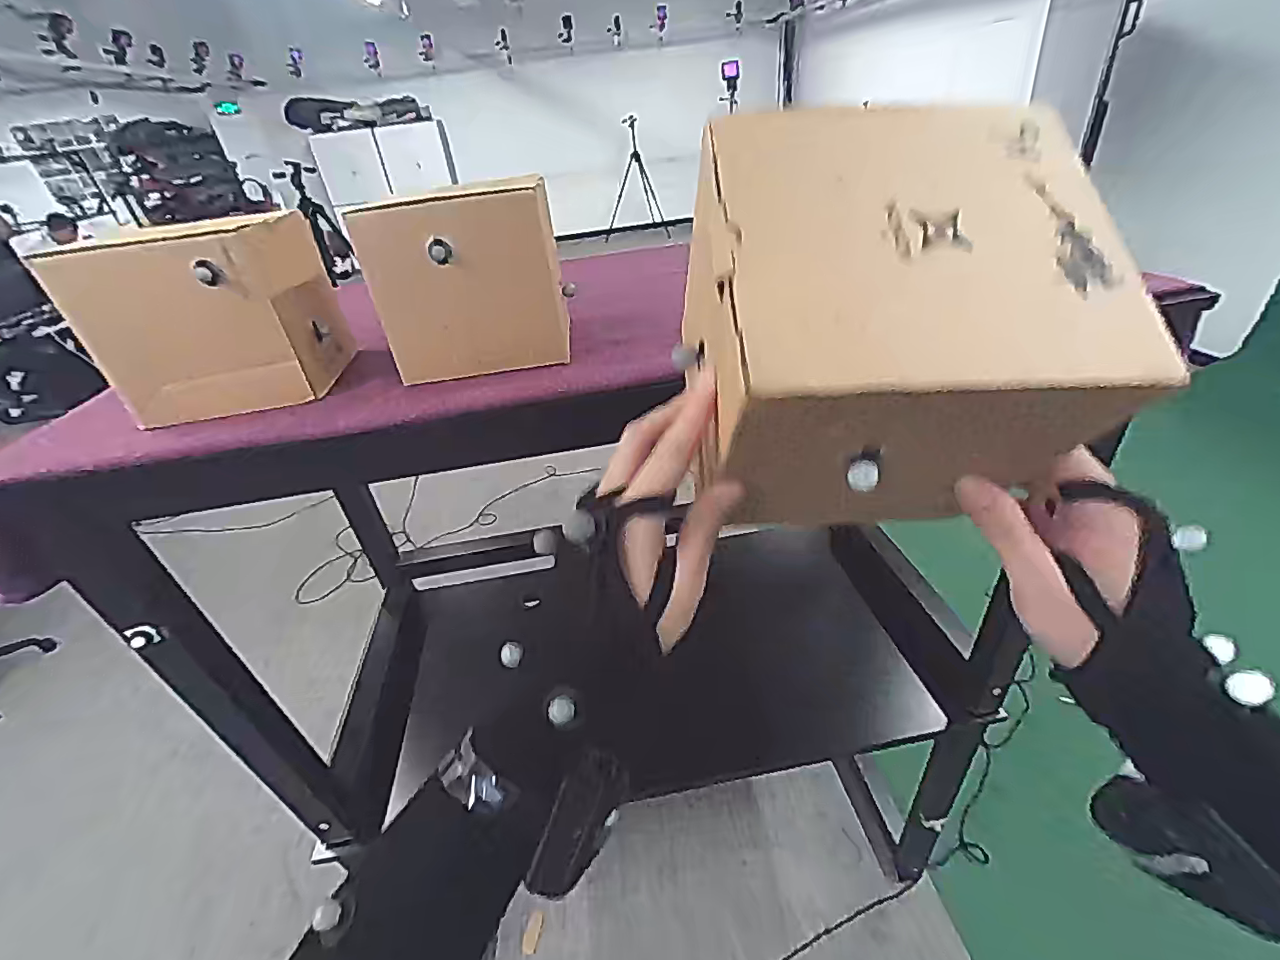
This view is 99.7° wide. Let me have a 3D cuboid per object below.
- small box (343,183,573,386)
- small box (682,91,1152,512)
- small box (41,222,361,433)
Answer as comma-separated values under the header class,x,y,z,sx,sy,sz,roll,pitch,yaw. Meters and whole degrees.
class,x,y,z,sx,sy,sz,roll,pitch,yaw
small box,-0.178,-0.214,0.593,0.179,0.176,0.168,-9,33,-1
small box,0.115,-0.084,0.316,0.179,0.176,0.168,-3,69,1
small box,-0.436,-0.164,0.579,0.179,0.176,0.168,-11,33,-6
